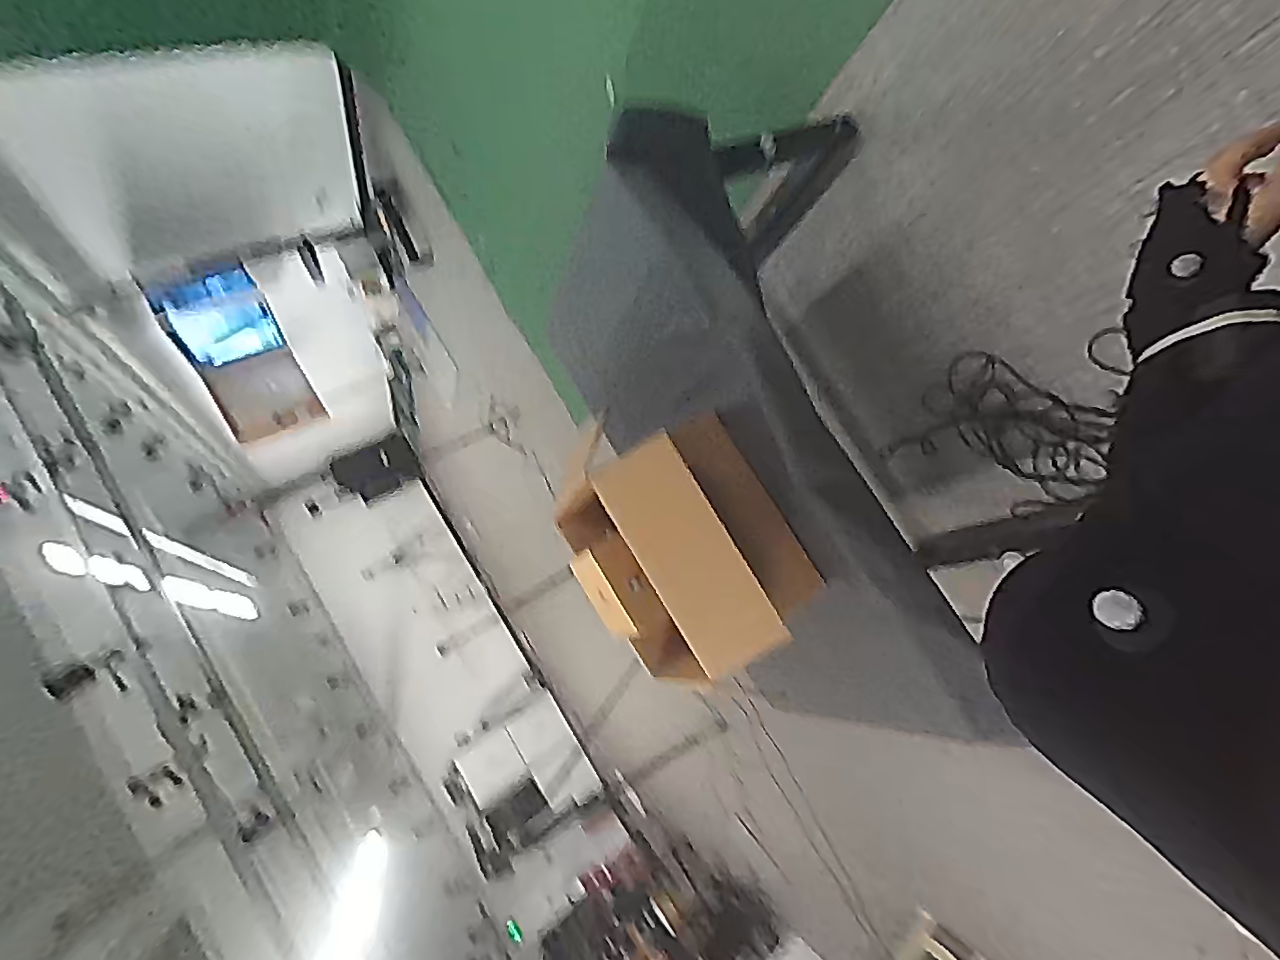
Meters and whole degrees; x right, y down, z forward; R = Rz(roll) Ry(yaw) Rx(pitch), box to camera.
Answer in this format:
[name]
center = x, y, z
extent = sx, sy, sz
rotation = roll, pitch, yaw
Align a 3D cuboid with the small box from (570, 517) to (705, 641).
[small box]
center = -0.007, 0.189, 1.054
extent = 0.179, 0.176, 0.168
rotation = 57, 153, 5
